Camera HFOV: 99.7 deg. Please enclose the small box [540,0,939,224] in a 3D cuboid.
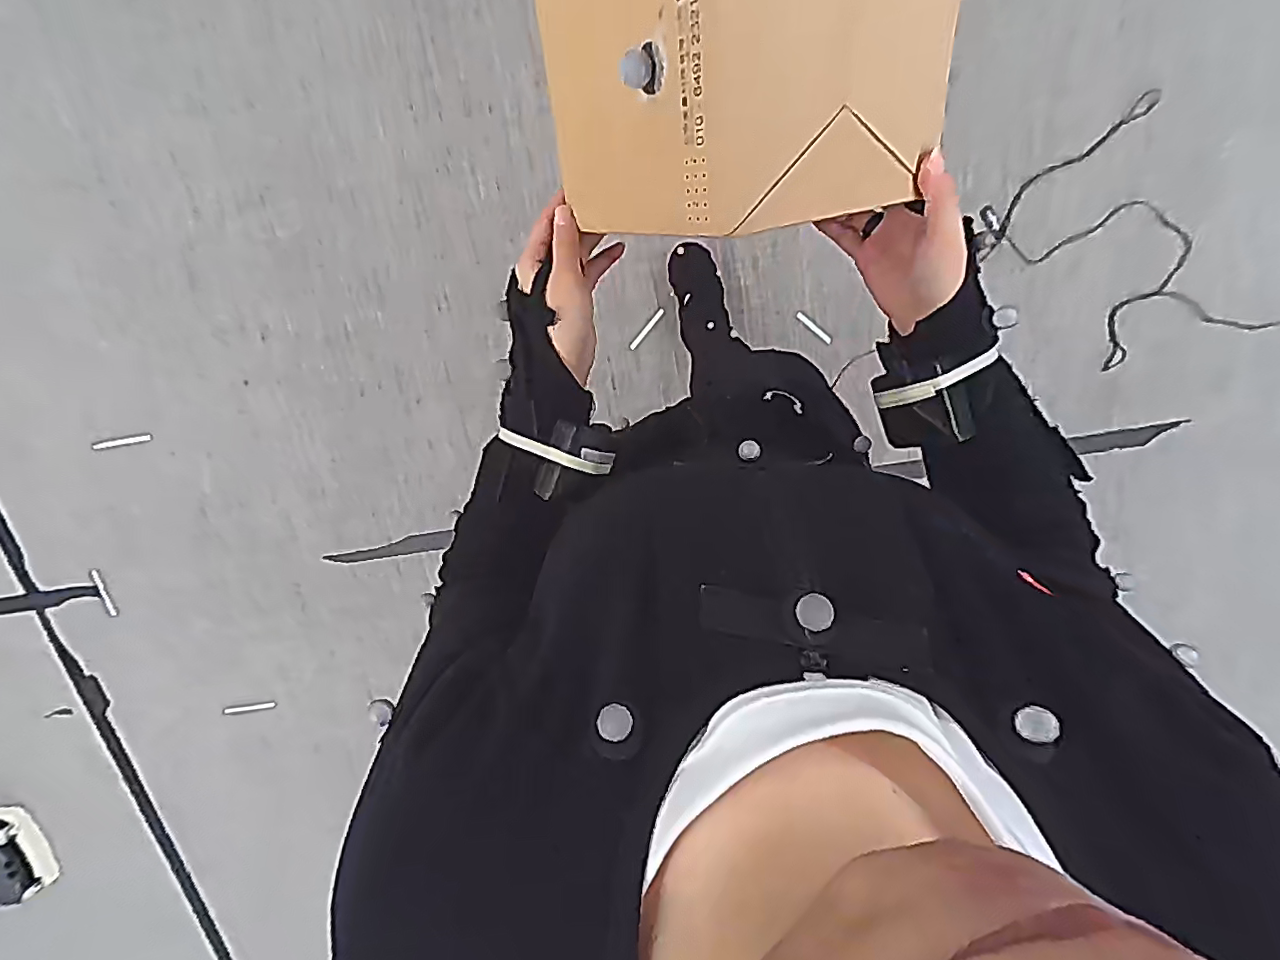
[{"bbox_3d":[0.059,-0.256,0.328,0.179,0.176,0.168,-23,123,-27],"label":"small box"}]
